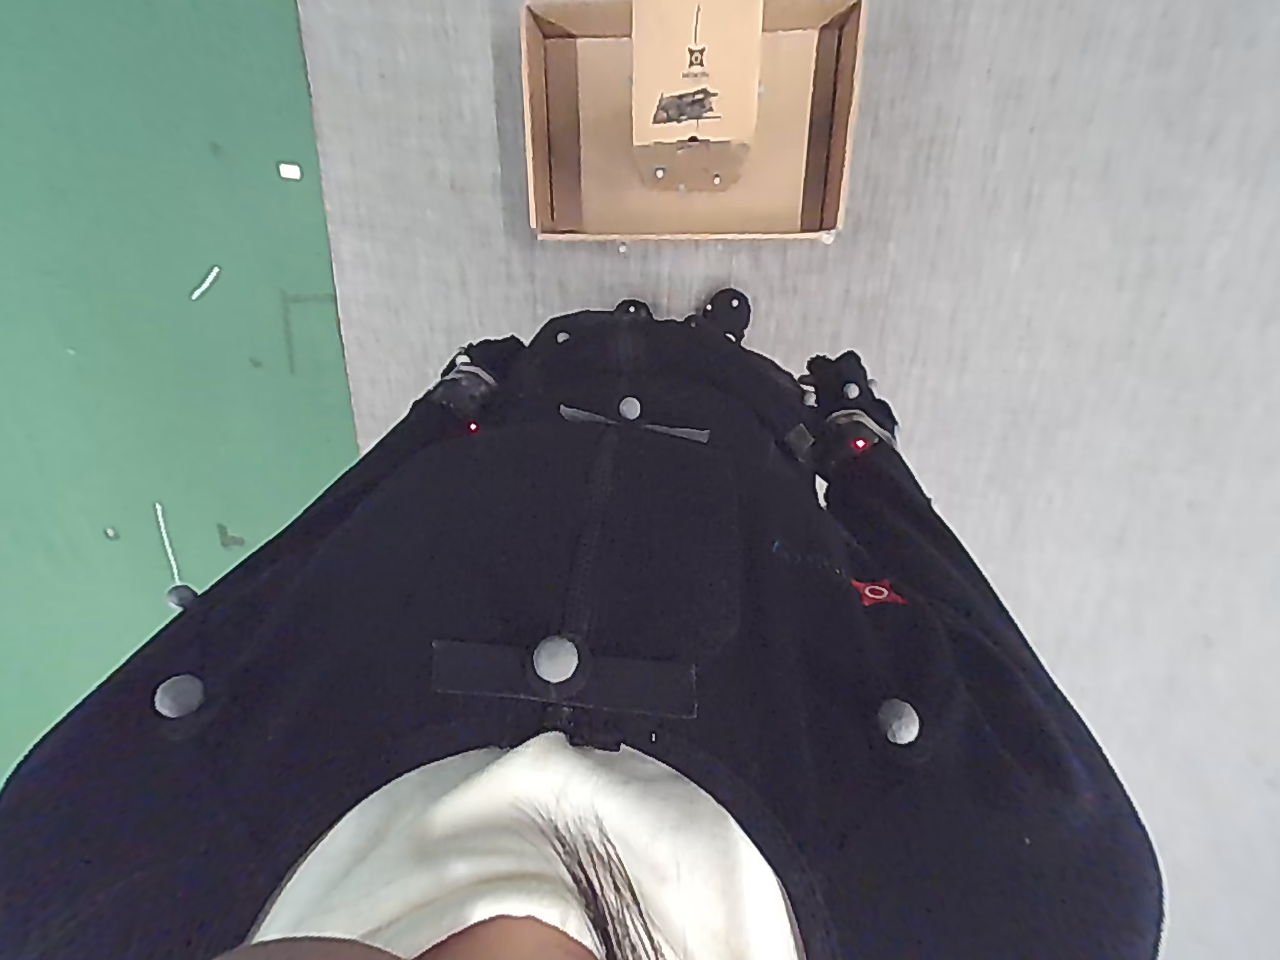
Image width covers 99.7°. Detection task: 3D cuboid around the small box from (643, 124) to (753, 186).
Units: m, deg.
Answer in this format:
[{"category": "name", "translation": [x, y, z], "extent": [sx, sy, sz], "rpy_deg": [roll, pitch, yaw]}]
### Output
[{"category": "small box", "translation": [0.092, -0.607, 0.916], "extent": [0.179, 0.176, 0.168], "rpy_deg": [-1, 109, 5]}]

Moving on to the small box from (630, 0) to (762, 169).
[{"category": "small box", "translation": [0.077, -0.559, 0.776], "extent": [0.168, 0.176, 0.179], "rpy_deg": [2, 108, 4]}]
